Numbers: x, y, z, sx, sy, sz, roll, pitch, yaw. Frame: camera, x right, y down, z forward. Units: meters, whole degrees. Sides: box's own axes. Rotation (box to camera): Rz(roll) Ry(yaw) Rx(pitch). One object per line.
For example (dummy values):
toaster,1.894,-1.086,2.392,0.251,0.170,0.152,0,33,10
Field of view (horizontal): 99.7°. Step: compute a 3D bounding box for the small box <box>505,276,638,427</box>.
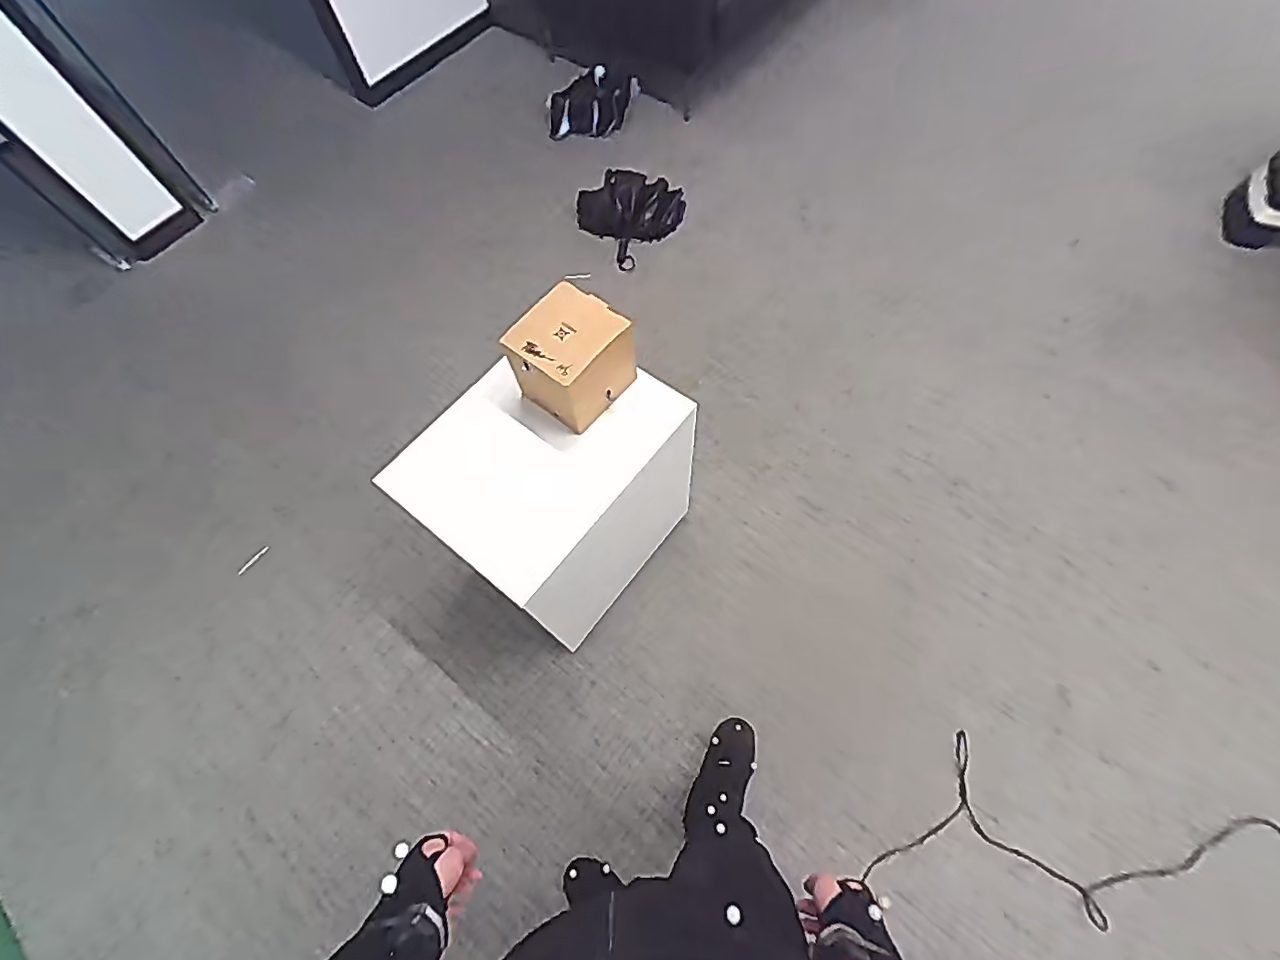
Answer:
small box,-0.120,-0.235,1.011,0.168,0.176,0.179,37,71,17
